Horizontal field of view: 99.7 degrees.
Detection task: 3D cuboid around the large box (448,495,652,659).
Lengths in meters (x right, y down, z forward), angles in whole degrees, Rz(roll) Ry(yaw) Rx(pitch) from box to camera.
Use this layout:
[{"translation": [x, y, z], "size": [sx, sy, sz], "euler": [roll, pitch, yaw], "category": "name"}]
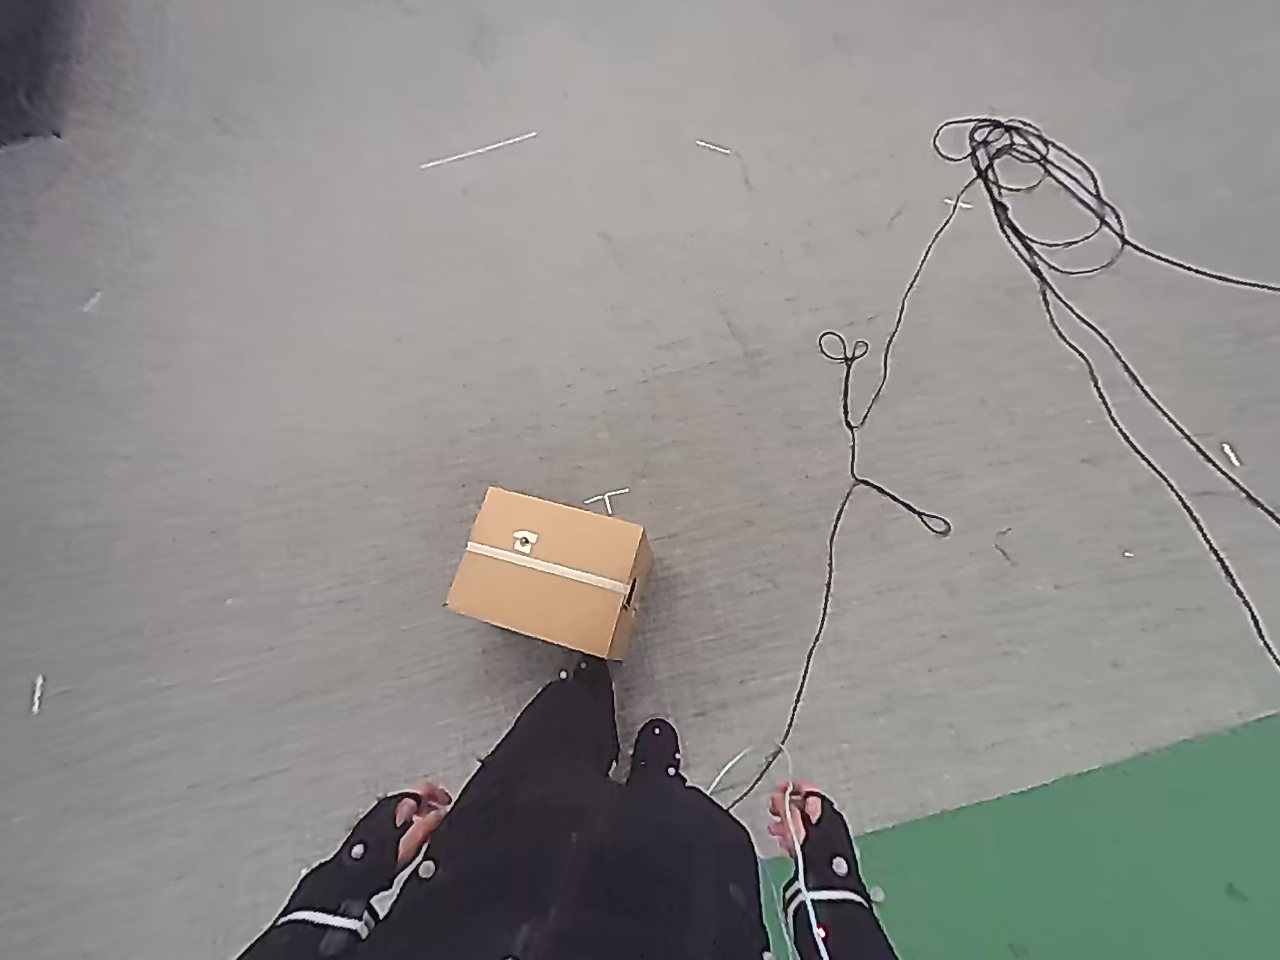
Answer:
[{"translation": [-0.204, 0.264, 1.409], "size": [0.408, 0.320, 0.320], "euler": [13, 72, 11], "category": "large box"}]
